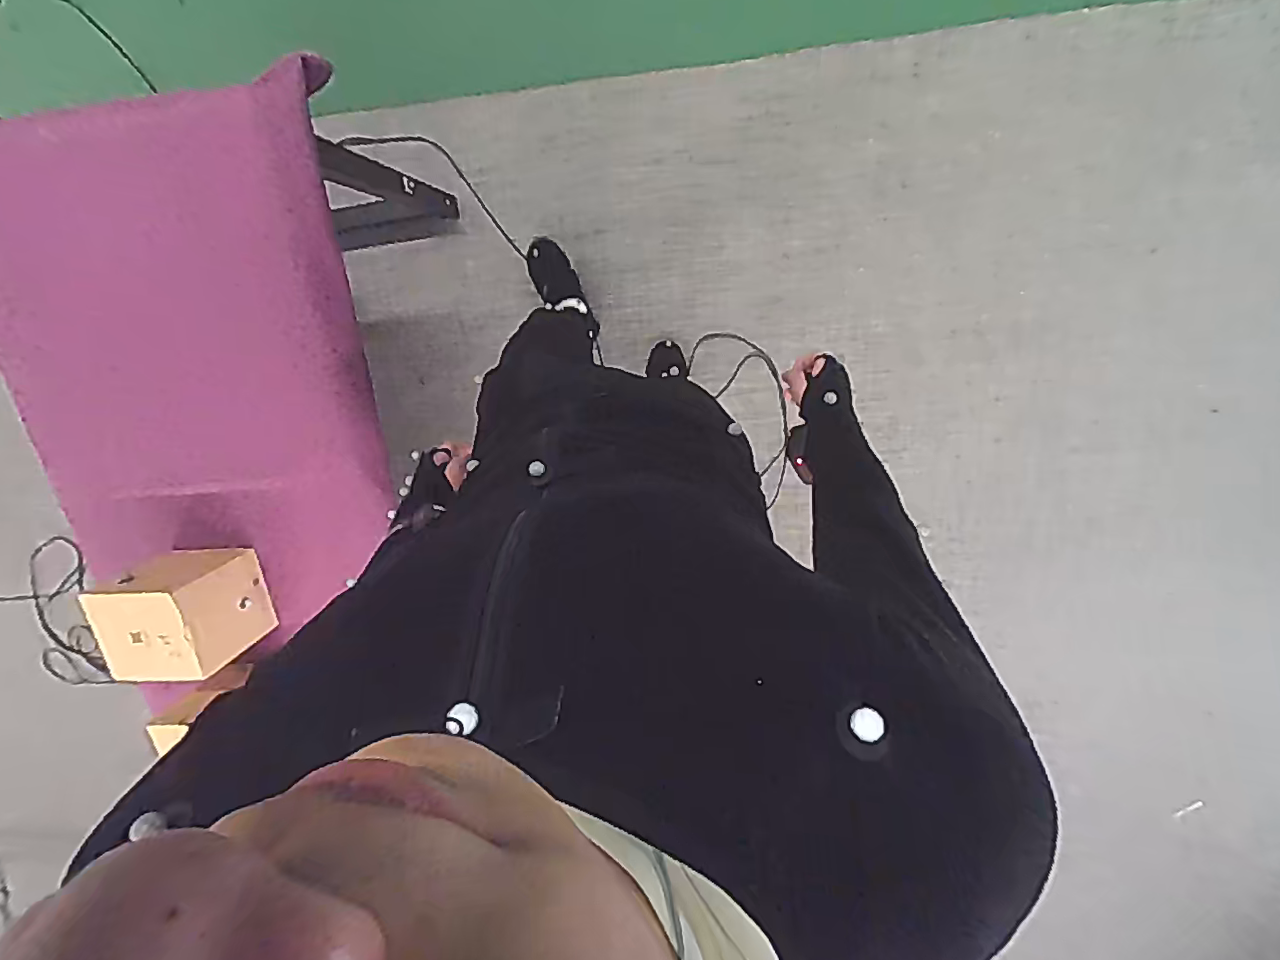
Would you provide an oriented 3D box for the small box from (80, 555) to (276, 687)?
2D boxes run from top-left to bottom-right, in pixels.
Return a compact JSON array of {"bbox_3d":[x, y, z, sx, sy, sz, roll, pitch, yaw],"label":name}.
[{"bbox_3d":[-0.793,0.240,0.948,0.179,0.176,0.168,-3,107,6],"label":"small box"}]

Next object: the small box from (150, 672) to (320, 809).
[{"bbox_3d":[-0.748,0.482,1.019,0.168,0.176,0.179,-3,108,7],"label":"small box"}]
